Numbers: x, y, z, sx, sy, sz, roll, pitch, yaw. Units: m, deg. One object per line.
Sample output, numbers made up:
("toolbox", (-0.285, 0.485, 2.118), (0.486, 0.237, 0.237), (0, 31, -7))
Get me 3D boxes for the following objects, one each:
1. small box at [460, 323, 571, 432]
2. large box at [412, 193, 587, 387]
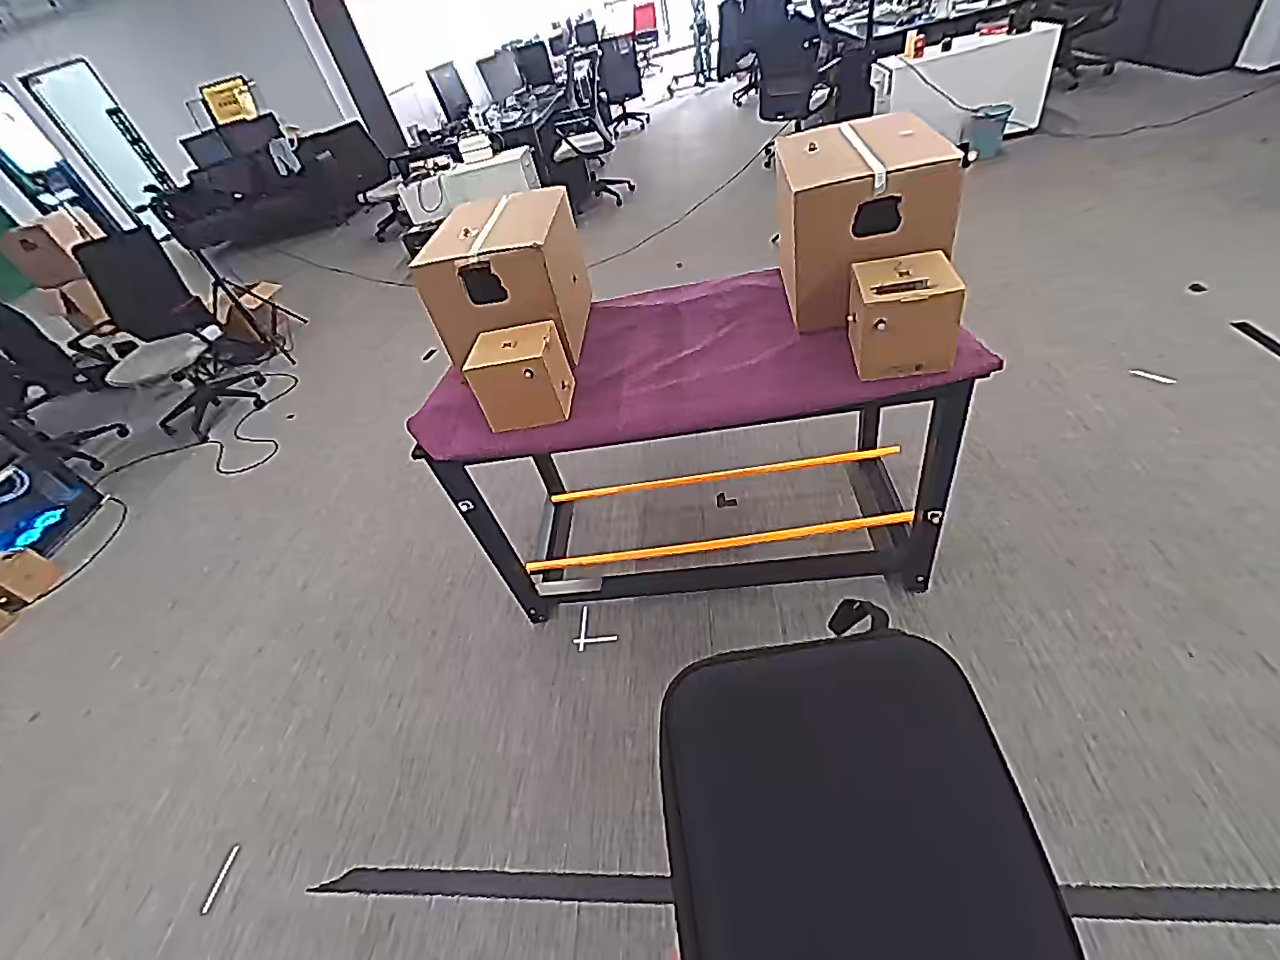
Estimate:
("small box", (-0.268, -0.224, 1.208), (0.179, 0.176, 0.168), (-8, 41, 8))
("large box", (-0.330, -0.498, 1.414), (0.320, 0.320, 0.408), (-7, 45, 8))
